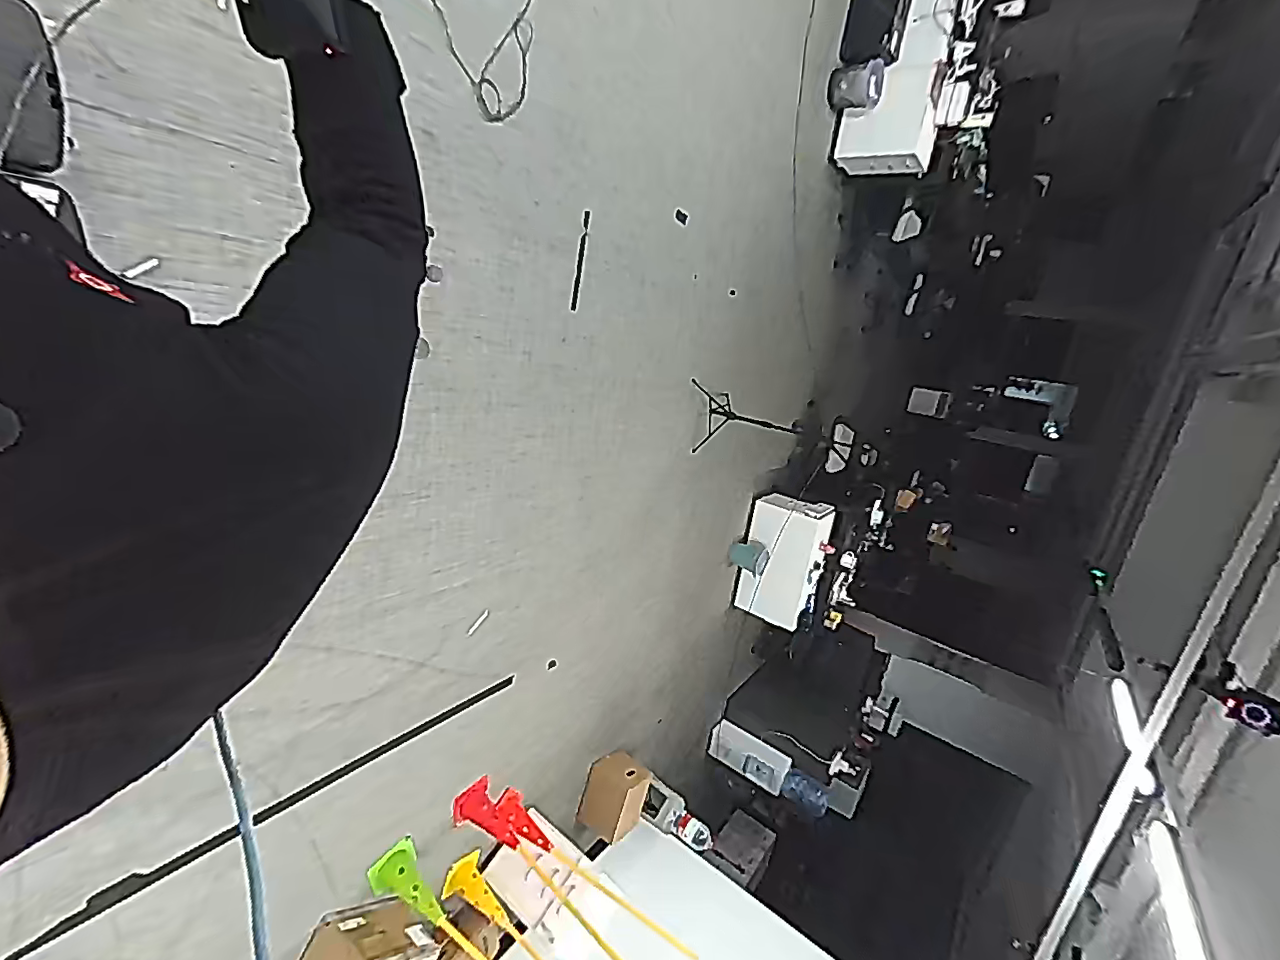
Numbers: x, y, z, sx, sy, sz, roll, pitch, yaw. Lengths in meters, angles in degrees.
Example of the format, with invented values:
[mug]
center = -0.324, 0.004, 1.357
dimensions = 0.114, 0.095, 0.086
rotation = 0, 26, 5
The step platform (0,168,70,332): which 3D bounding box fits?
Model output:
[step platform]
center = -1.341, -0.385, 0.801
dimensions = 0.684, 0.204, 0.286
rotation = -15, 118, -51
